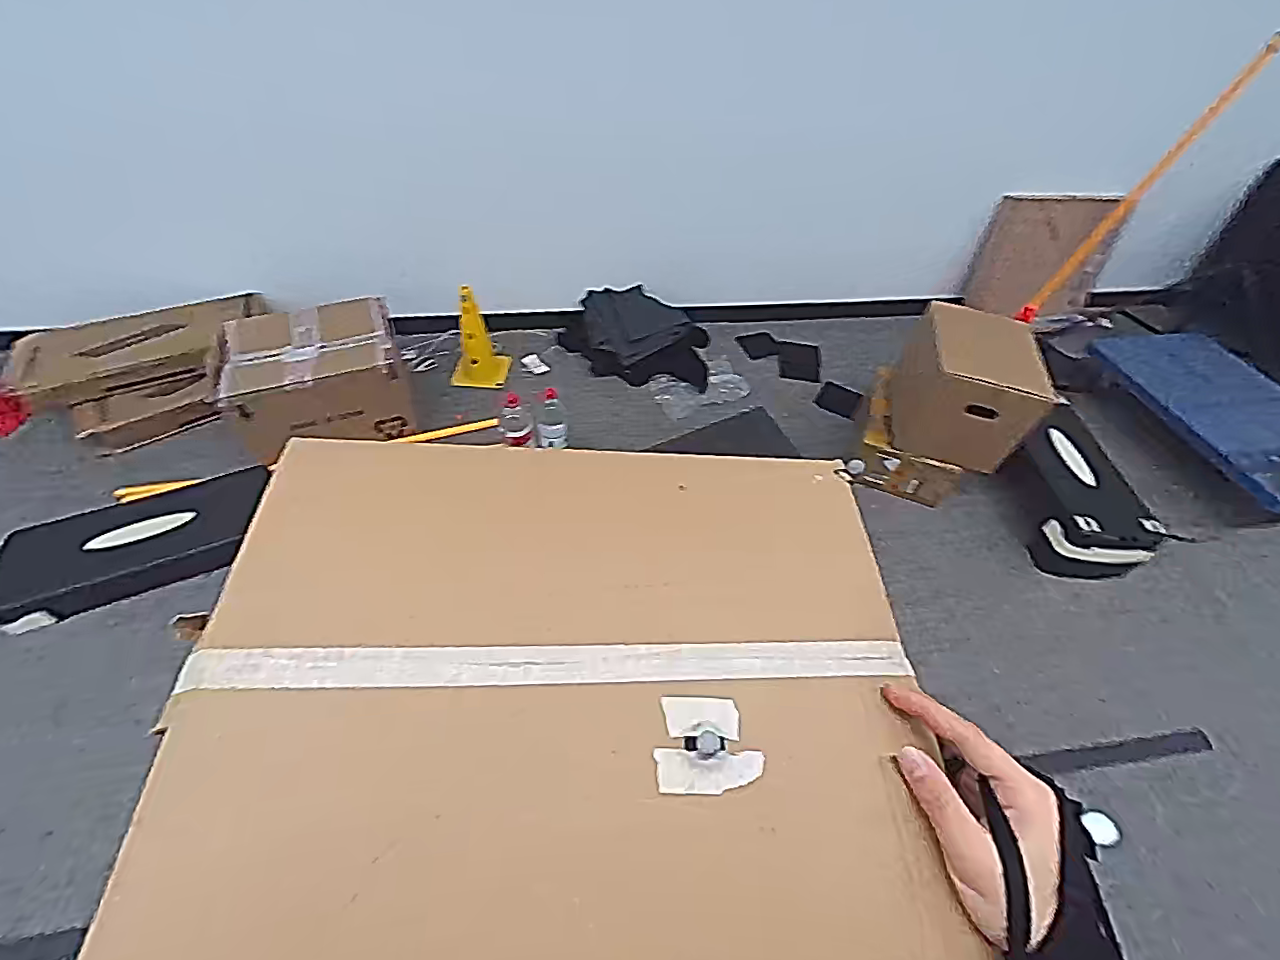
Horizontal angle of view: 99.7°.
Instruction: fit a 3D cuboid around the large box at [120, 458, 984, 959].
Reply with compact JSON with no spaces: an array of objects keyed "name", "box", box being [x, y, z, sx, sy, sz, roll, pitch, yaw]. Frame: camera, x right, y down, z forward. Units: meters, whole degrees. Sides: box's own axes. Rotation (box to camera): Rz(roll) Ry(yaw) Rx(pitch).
[{"name":"large box","box":[-0.053,0.201,0.442,0.408,0.320,0.320,3,56,-8]}]
